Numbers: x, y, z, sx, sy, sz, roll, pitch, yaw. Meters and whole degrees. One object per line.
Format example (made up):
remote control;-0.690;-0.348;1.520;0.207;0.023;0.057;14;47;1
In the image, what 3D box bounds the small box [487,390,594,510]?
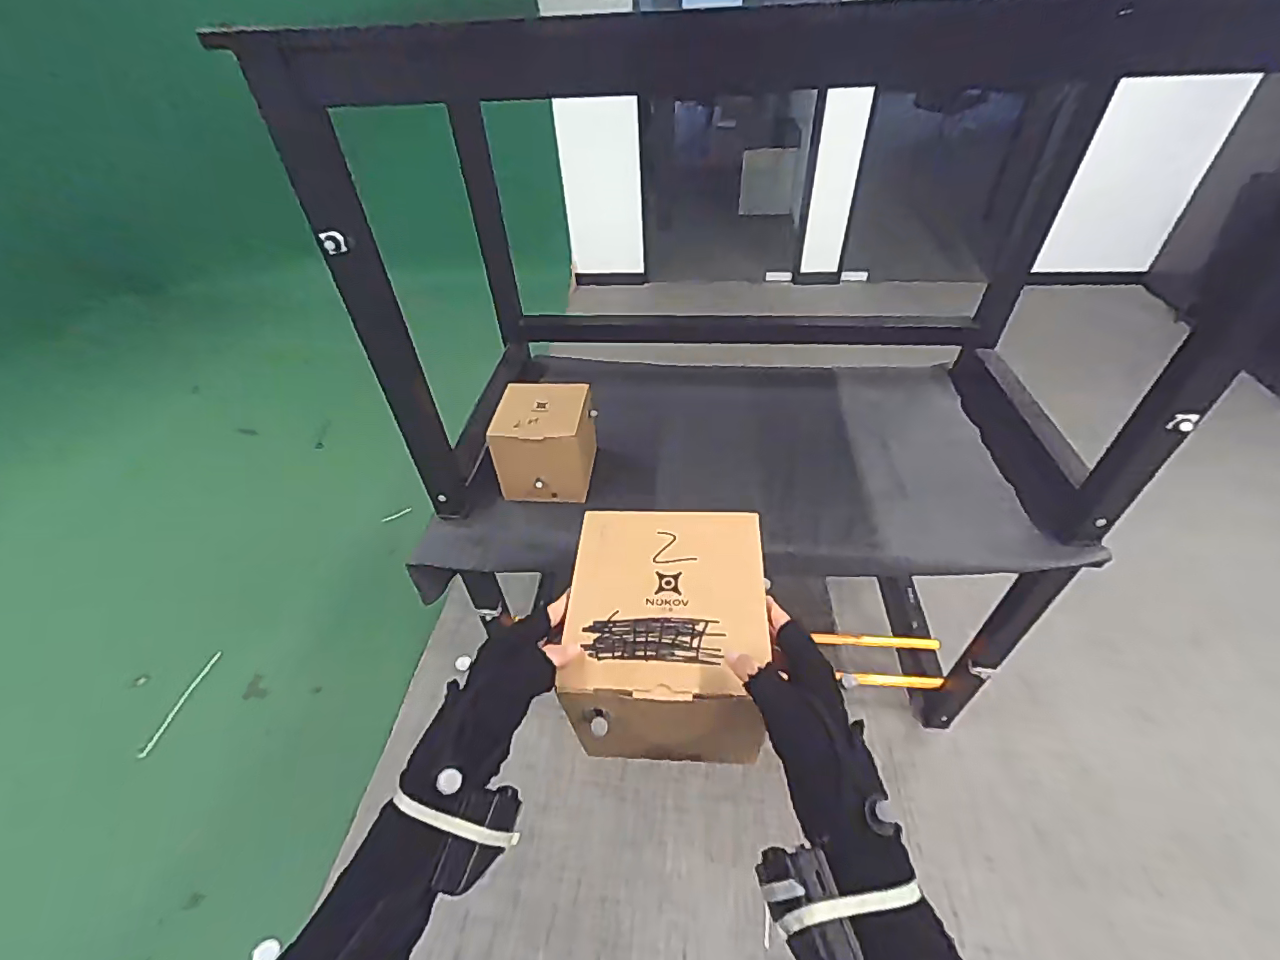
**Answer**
small box;-0.186;-0.062;1.080;0.168;0.176;0.179;1;42;5
